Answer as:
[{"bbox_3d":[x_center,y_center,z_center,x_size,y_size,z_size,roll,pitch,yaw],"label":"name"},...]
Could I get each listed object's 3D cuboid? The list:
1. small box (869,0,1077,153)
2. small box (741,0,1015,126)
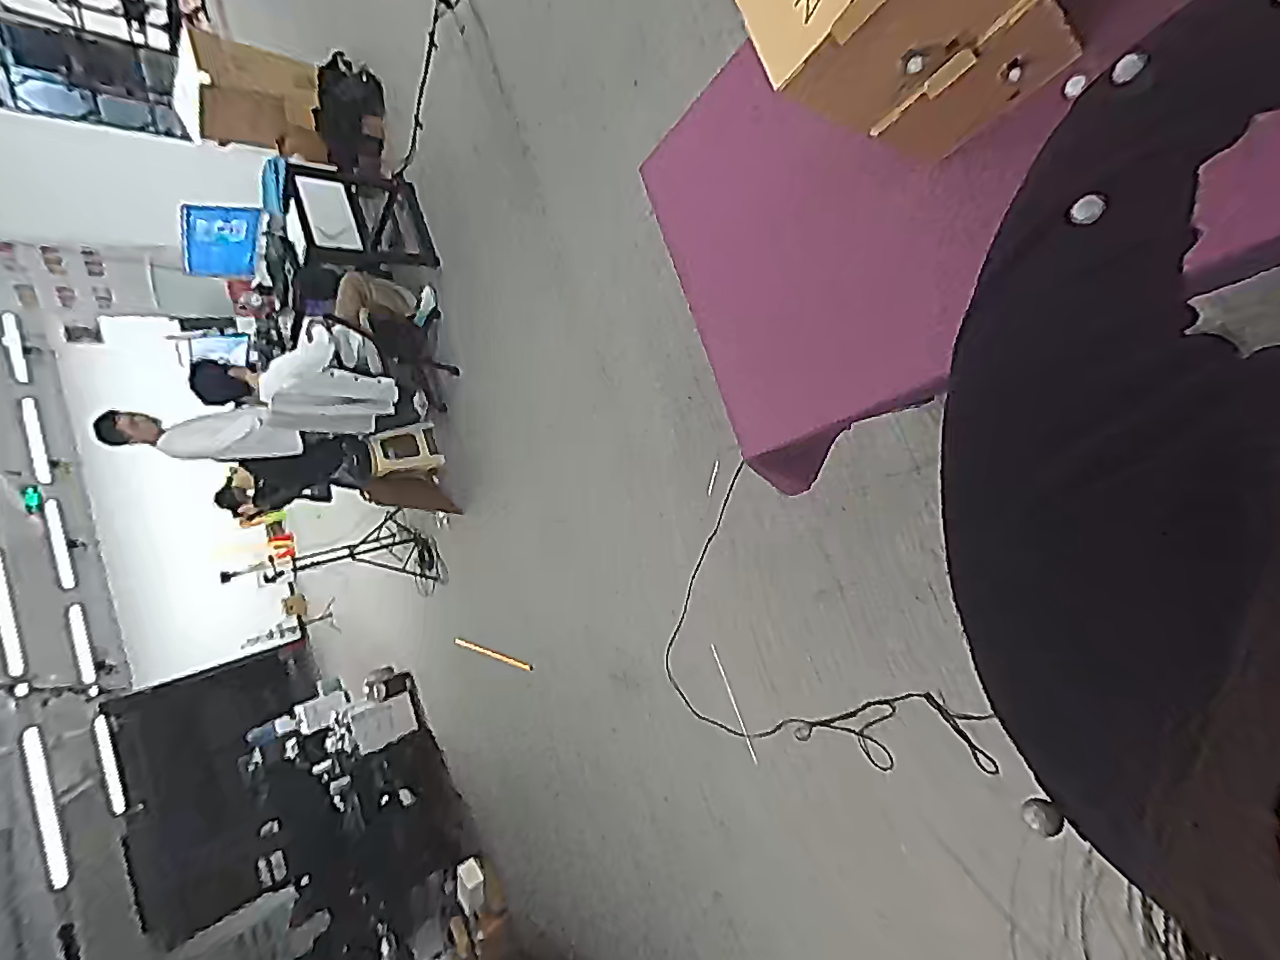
[{"bbox_3d":[0.336,-0.492,0.590,0.168,0.176,0.179,-26,80,48],"label":"small box"},{"bbox_3d":[0.205,-0.469,0.491,0.168,0.176,0.179,-27,80,49],"label":"small box"}]
